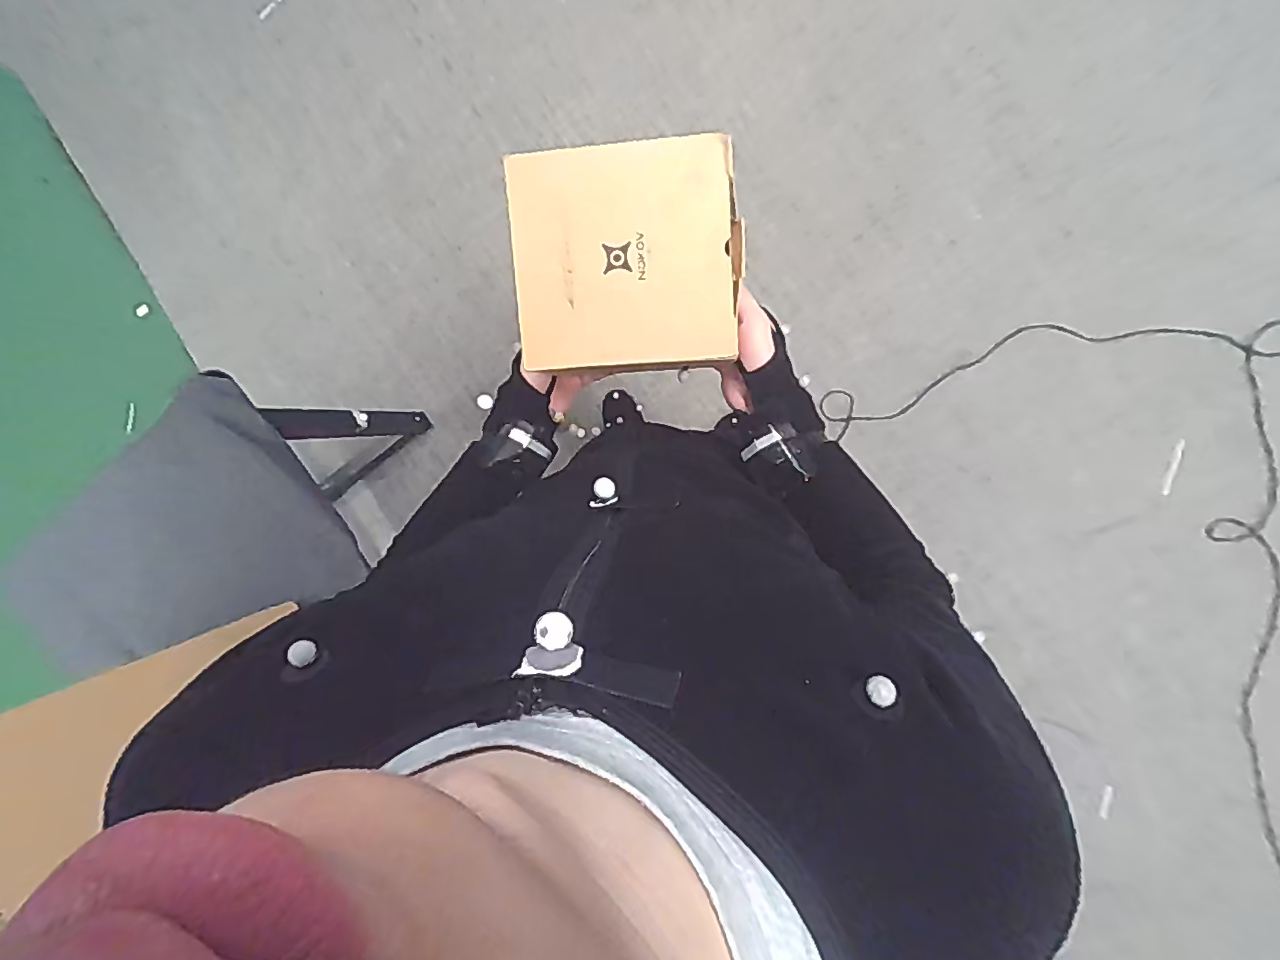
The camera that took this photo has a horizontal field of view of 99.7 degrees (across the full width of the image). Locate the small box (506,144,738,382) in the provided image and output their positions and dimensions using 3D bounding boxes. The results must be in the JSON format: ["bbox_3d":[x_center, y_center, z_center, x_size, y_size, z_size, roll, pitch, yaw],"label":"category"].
[{"bbox_3d":[-0.007,-0.180,0.503,0.179,0.176,0.168,-3,98,7],"label":"small box"}]
